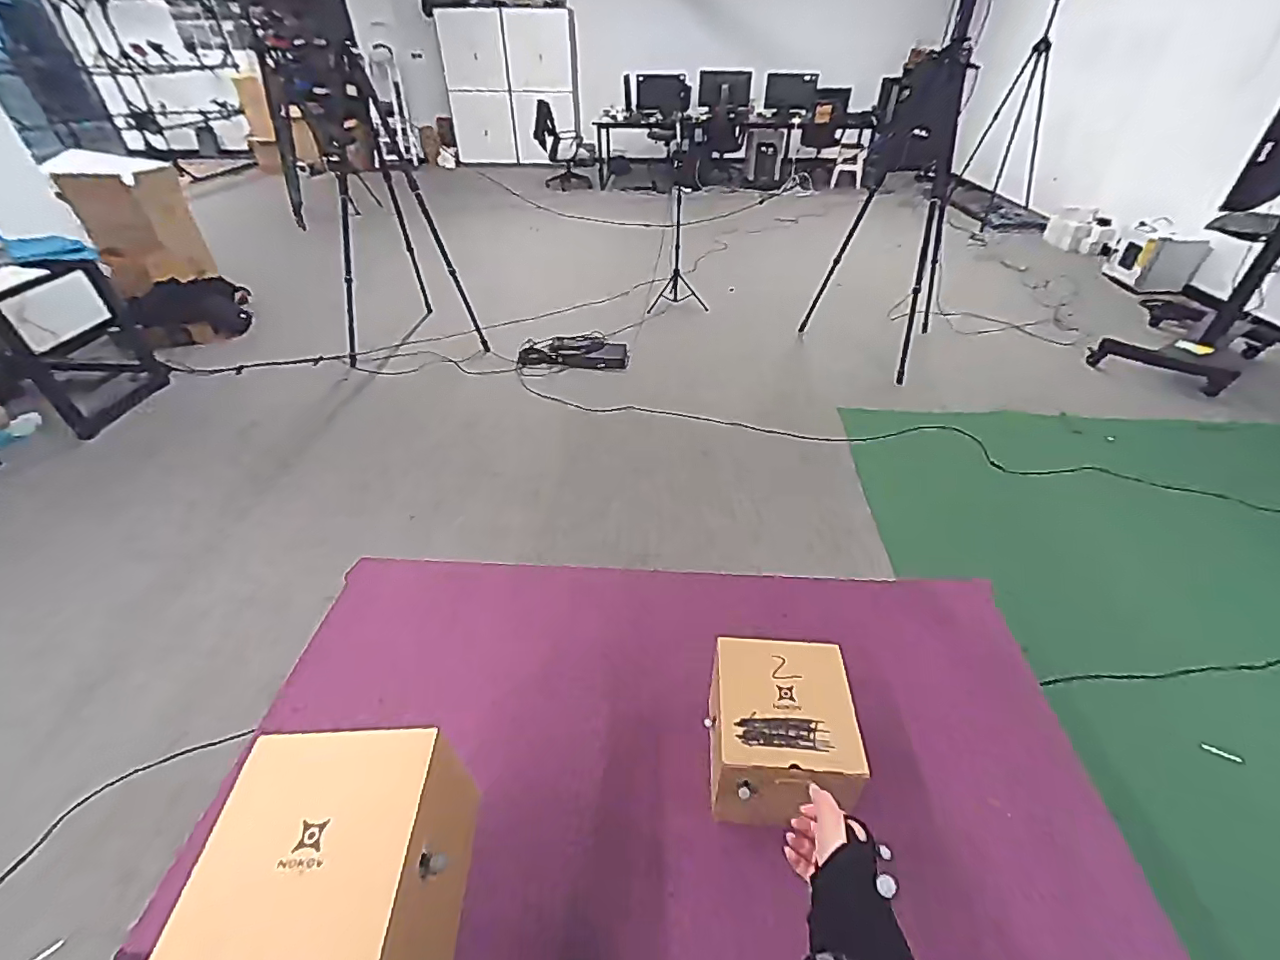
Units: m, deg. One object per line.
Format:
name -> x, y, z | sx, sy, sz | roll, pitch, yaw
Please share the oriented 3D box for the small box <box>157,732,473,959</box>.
small box -> -0.262, 0.354, 0.493 | 0.168, 0.176, 0.179 | -2, 42, 0
